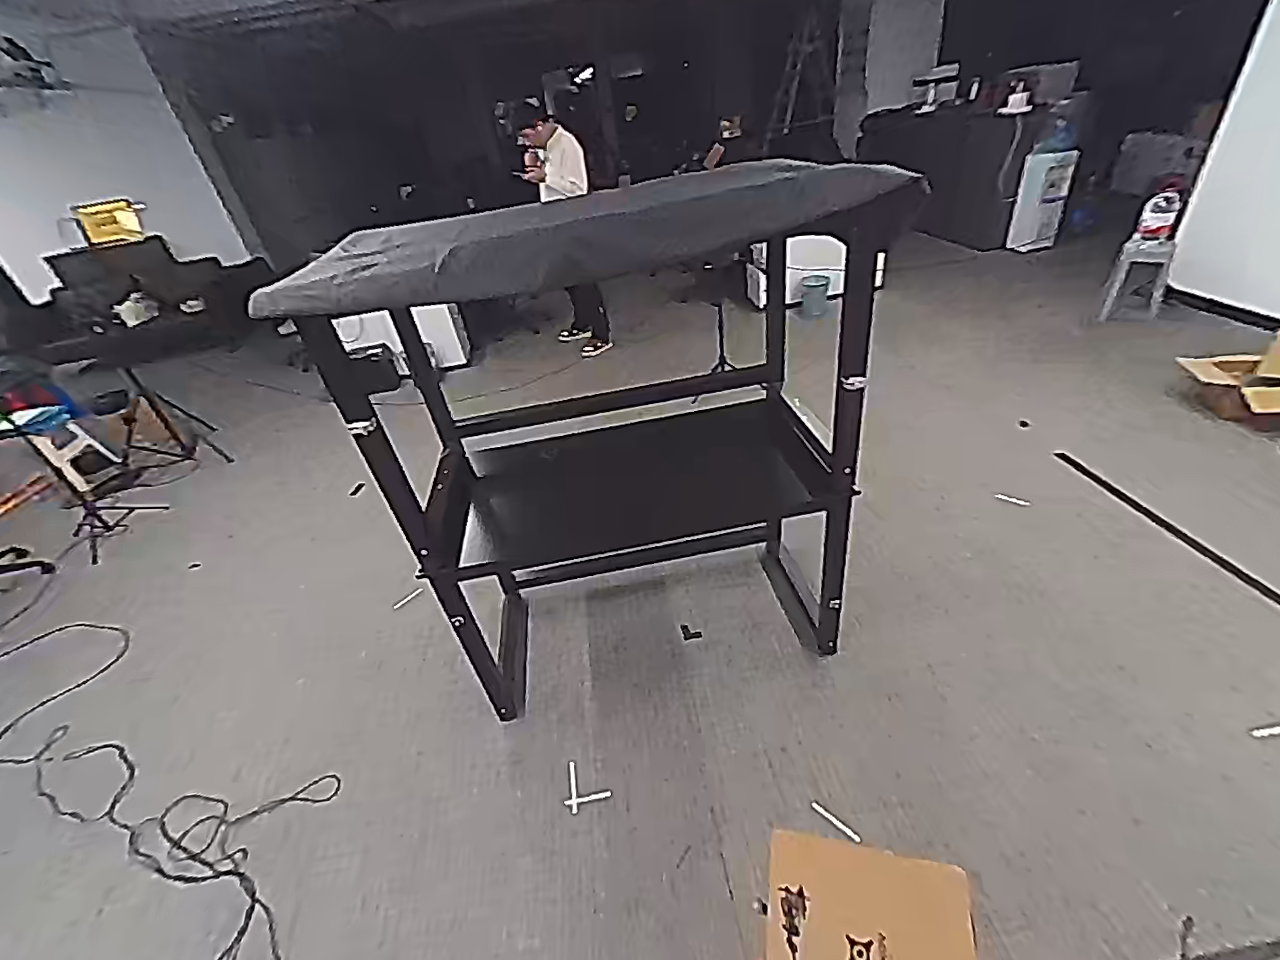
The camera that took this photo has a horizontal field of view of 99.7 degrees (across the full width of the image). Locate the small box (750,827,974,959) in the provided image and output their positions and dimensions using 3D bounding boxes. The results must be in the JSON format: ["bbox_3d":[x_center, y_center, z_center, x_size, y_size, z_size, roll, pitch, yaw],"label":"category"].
[{"bbox_3d":[0.202,0.461,0.522,0.179,0.176,0.168,5,49,13],"label":"small box"}]
